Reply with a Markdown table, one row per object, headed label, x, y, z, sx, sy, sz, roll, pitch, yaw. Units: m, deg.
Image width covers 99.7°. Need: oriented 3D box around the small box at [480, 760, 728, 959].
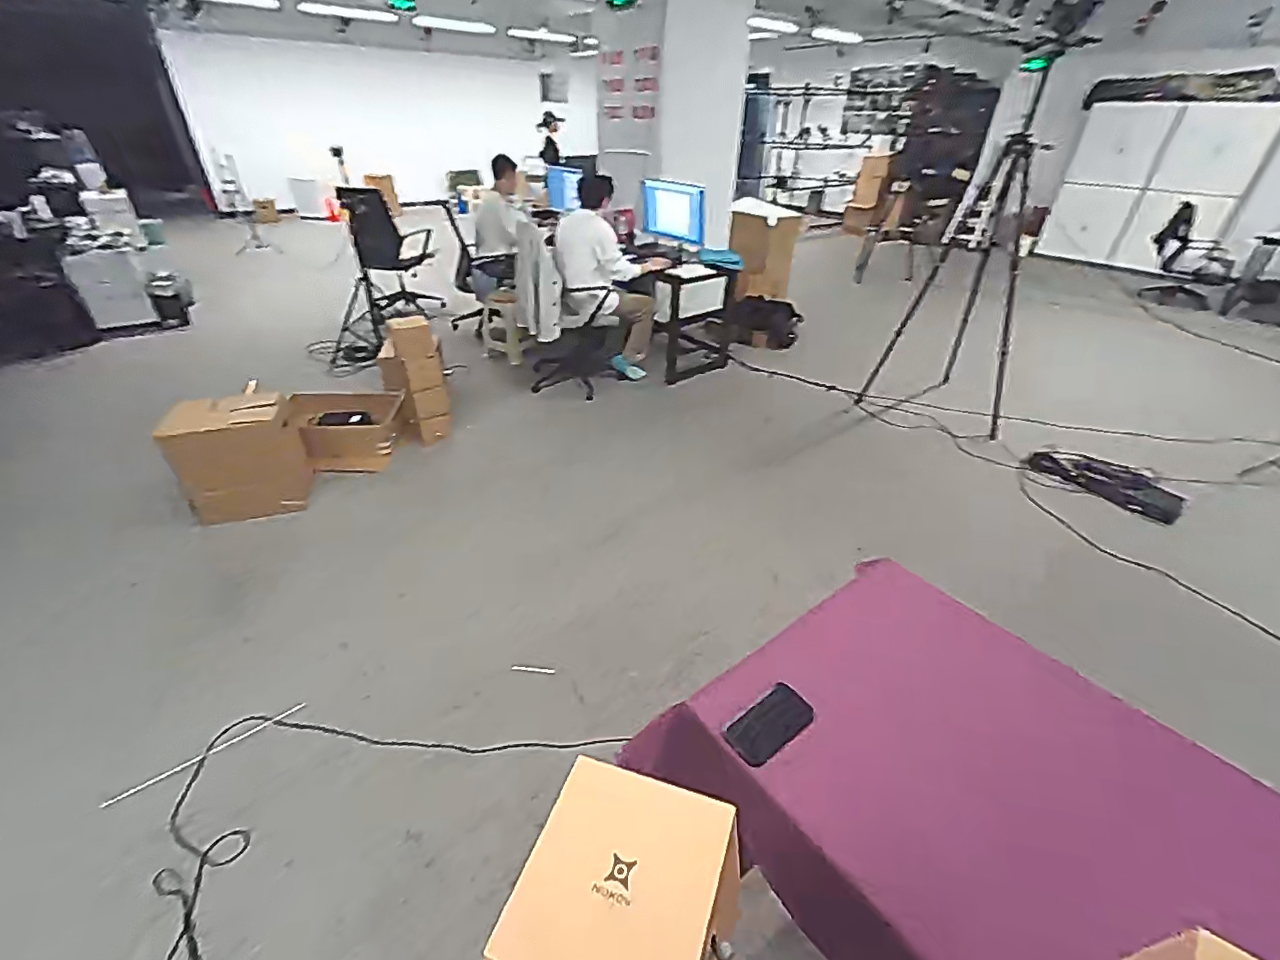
| label | x | y | z | sx | sy | sz | roll | pitch | yaw |
| --- | --- | --- | --- | --- | --- | --- | --- | --- | --- |
| small box | -0.016 | 0.411 | 0.509 | 0.168 | 0.176 | 0.179 | 6 | 37 | 21 |
